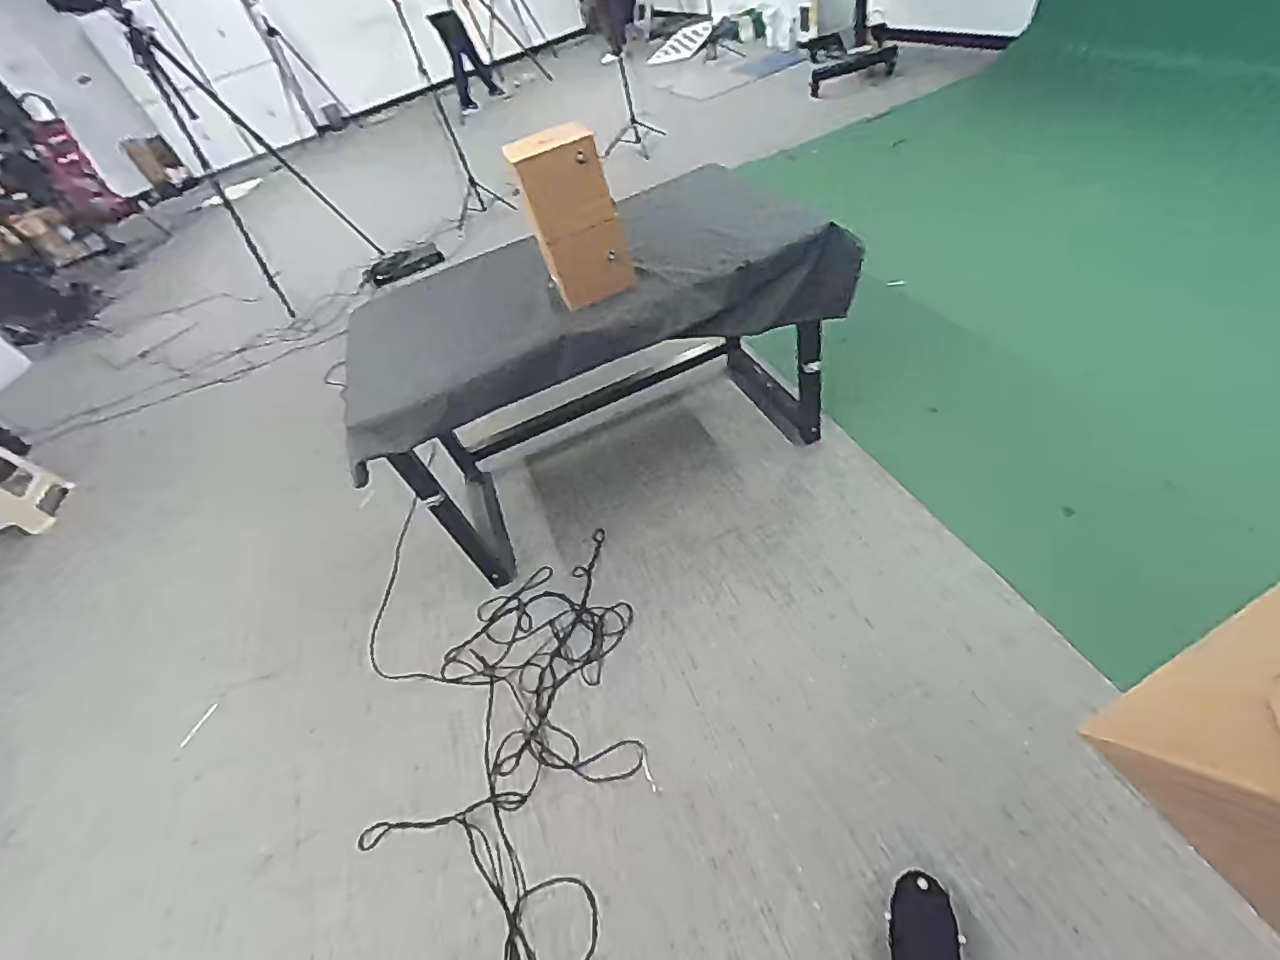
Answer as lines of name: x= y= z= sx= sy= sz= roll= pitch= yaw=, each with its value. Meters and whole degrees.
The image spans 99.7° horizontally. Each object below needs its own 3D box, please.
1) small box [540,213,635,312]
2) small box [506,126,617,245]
small box: x=-0.123 y=-0.533 z=1.293 sx=0.179 sy=0.176 sz=0.168 roll=-25 pitch=44 yaw=-4
small box: x=-0.170 y=-0.640 z=1.180 sx=0.179 sy=0.176 sz=0.168 roll=-23 pitch=44 yaw=-4
